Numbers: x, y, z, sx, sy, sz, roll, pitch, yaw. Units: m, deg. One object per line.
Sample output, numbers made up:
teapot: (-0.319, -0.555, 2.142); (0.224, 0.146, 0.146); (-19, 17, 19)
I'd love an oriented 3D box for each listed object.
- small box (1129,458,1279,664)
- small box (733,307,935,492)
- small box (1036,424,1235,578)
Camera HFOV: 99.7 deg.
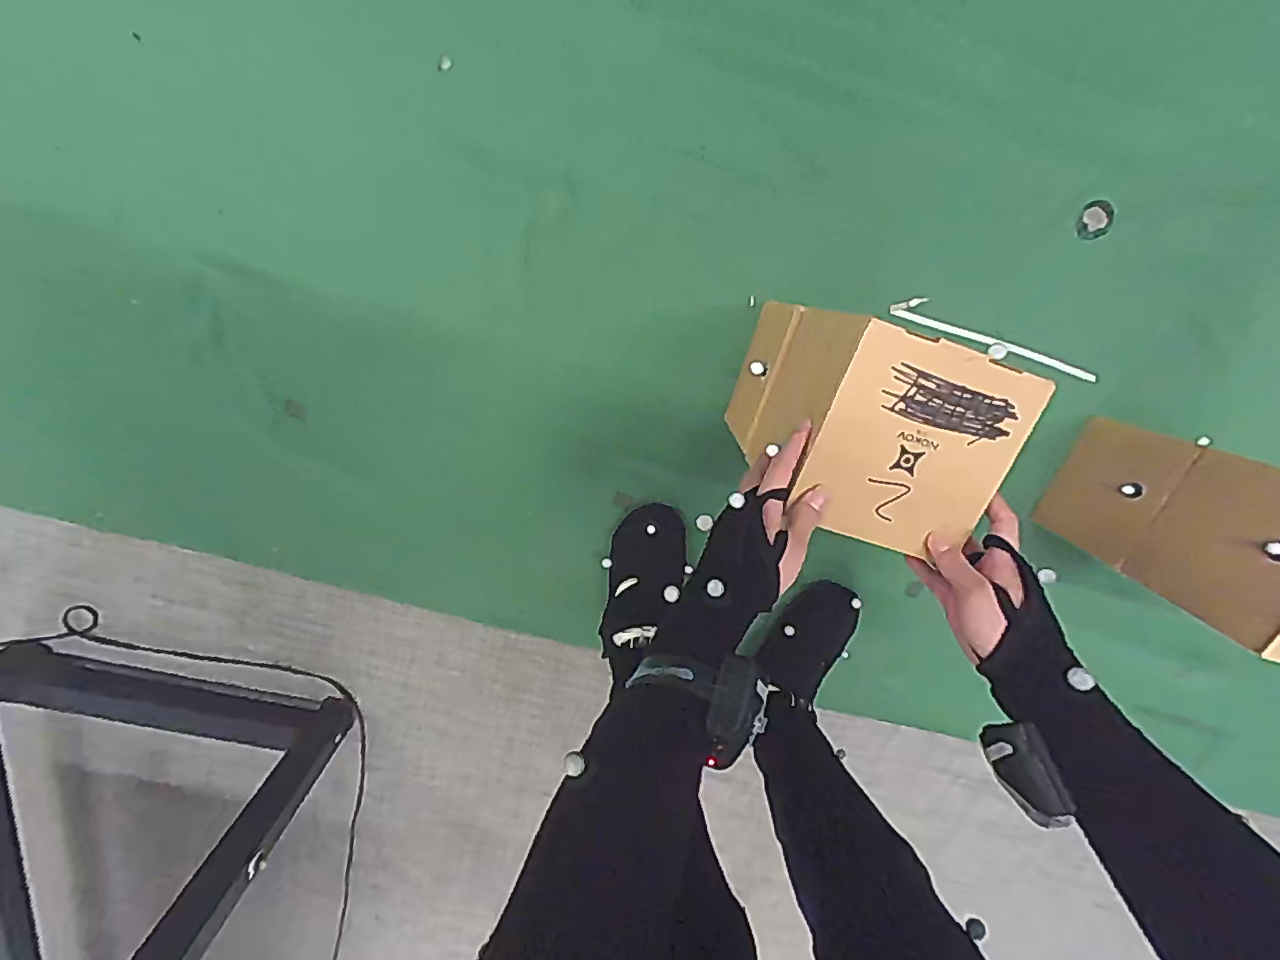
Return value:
small box: (0.707, 0.094, 0.589); (0.168, 0.176, 0.179); (17, 109, -6)
small box: (0.228, -0.111, 0.694); (0.168, 0.176, 0.179); (17, 107, -5)
small box: (0.704, 0.039, 0.744); (0.168, 0.176, 0.179); (18, 109, -6)
